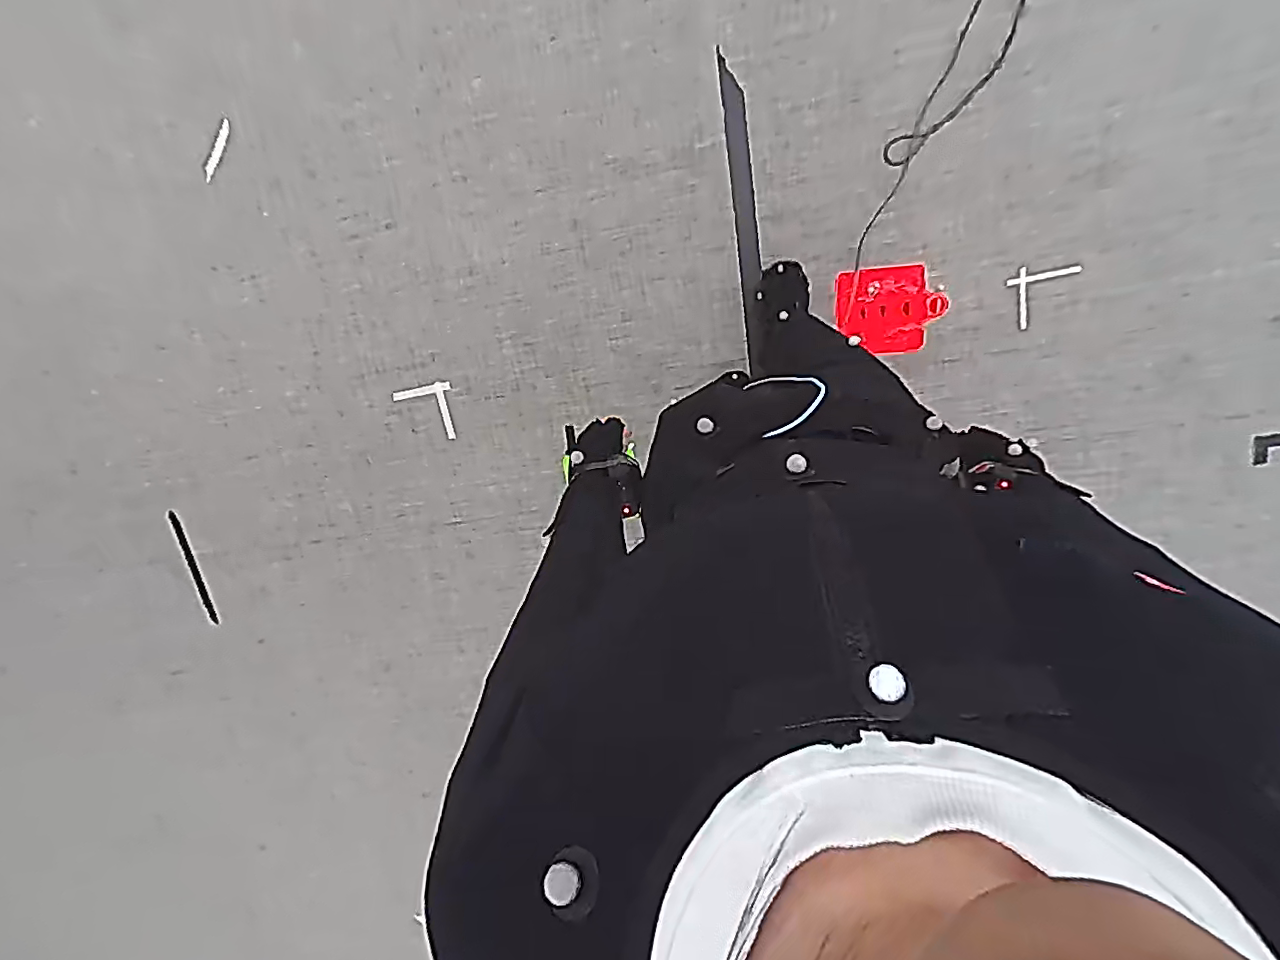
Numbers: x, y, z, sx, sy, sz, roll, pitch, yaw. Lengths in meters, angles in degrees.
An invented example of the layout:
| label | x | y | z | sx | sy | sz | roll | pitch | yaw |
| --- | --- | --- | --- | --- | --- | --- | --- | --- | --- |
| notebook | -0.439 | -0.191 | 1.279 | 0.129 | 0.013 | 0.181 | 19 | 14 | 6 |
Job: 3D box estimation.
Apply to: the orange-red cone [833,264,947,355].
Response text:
| label | x | y | z | sx | sy | sz | roll | pitch | yaw |
| --- | --- | --- | --- | --- | --- | --- | --- | --- | --- |
| orange-red cone | 0.541 | -0.353 | 1.111 | 0.199 | 0.360 | 0.198 | -3 | 106 | 7 |

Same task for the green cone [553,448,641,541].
| label | x | y | z | sx | sy | sz | roll | pitch | yaw |
| --- | --- | --- | --- | --- | --- | --- | --- | --- | --- |
| green cone | -0.132 | 0.060 | 1.309 | 0.202 | 0.368 | 0.200 | -7 | 103 | 11 |
